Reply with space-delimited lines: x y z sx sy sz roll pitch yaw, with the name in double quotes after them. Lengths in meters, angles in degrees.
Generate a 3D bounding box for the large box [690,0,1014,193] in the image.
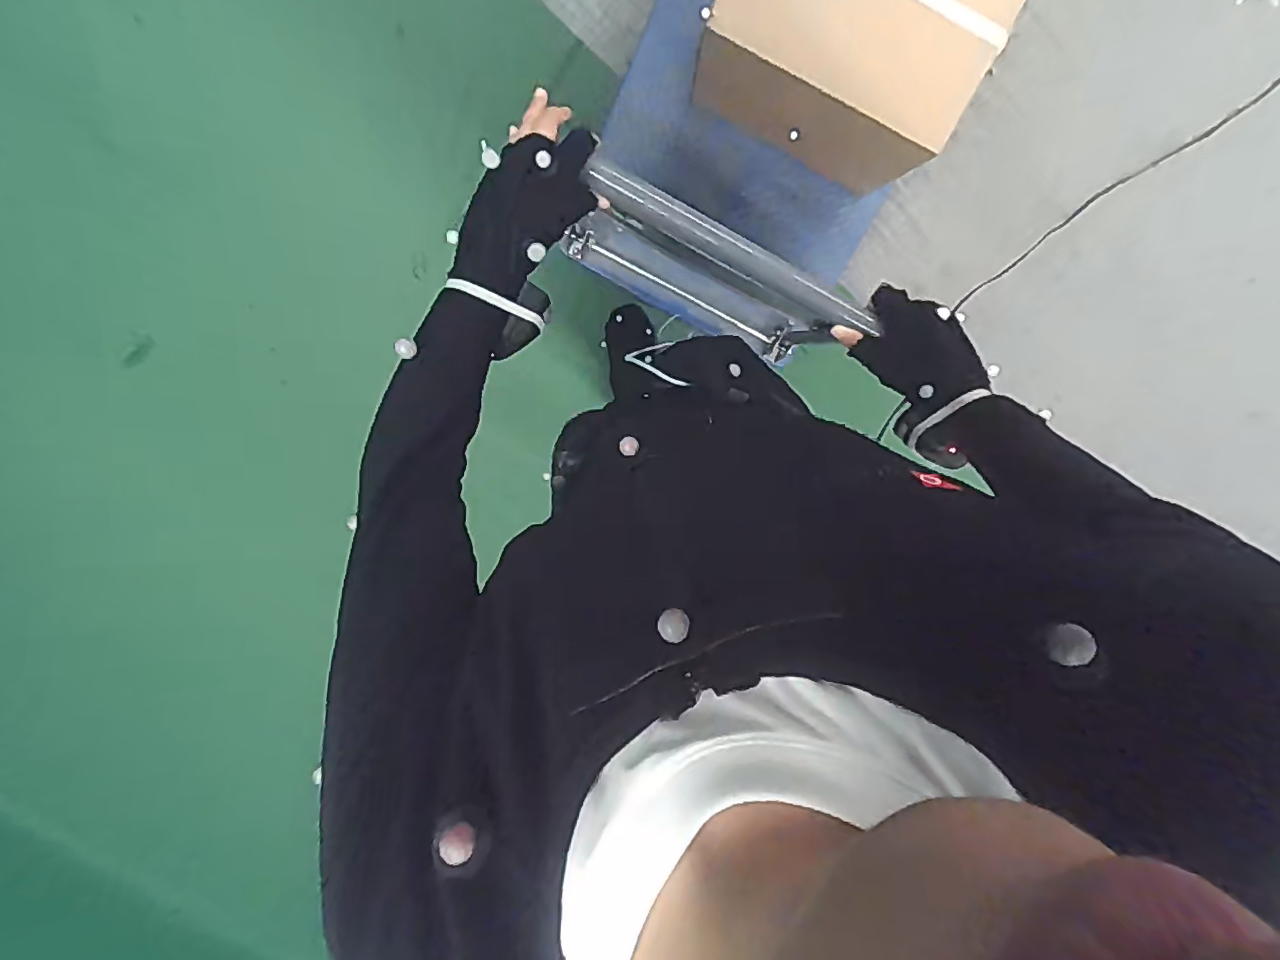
0.334 -0.749 0.910 0.408 0.320 0.320 25 105 -5 "large box"
